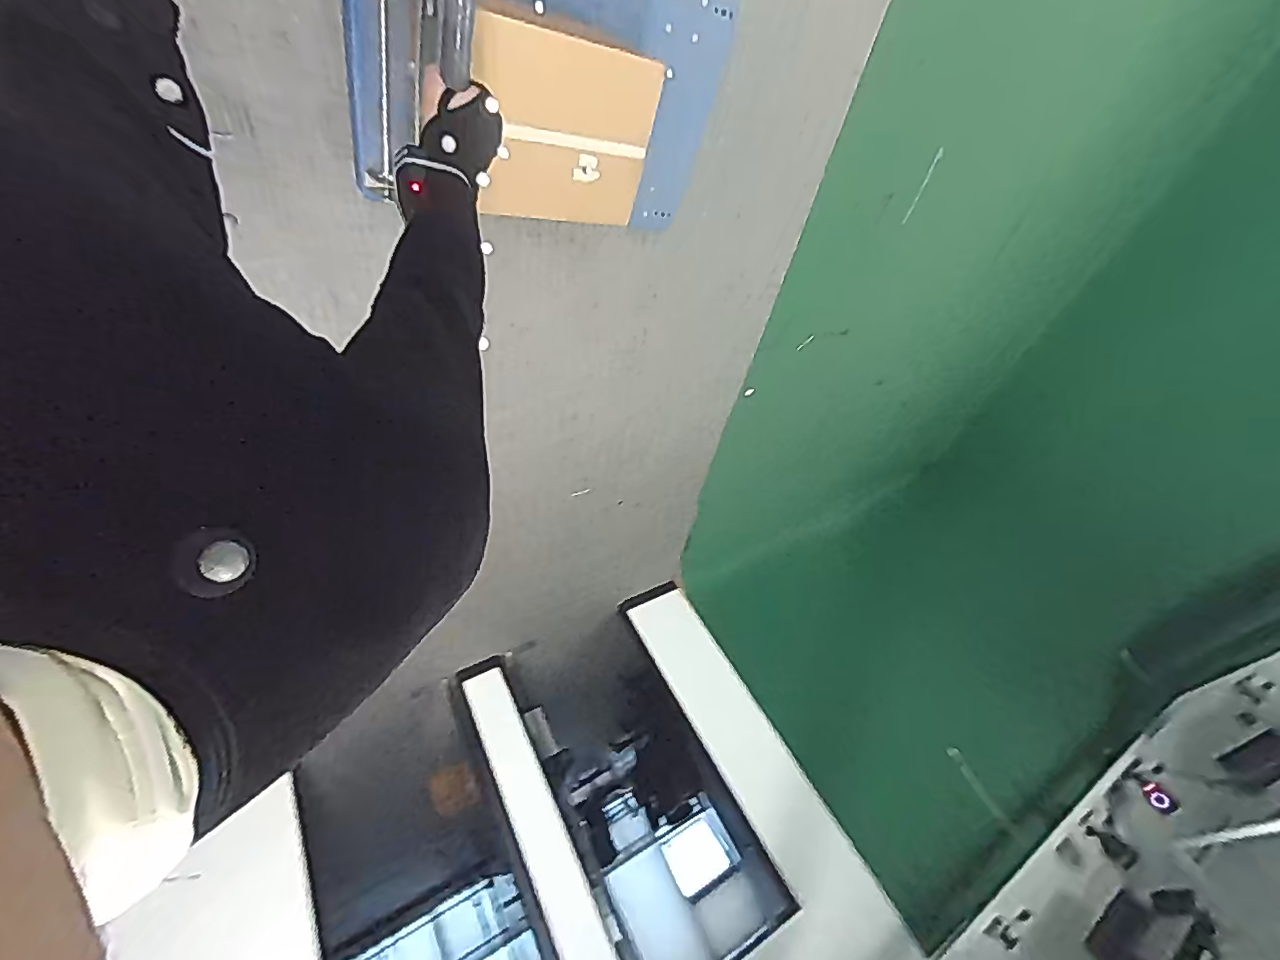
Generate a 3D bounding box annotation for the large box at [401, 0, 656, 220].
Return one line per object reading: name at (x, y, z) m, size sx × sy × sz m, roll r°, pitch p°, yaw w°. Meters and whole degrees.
large box at (-0.244, -0.768, 1.122) m, size 0.408 × 0.320 × 0.320 m, roll -13°, pitch 141°, yaw -32°
